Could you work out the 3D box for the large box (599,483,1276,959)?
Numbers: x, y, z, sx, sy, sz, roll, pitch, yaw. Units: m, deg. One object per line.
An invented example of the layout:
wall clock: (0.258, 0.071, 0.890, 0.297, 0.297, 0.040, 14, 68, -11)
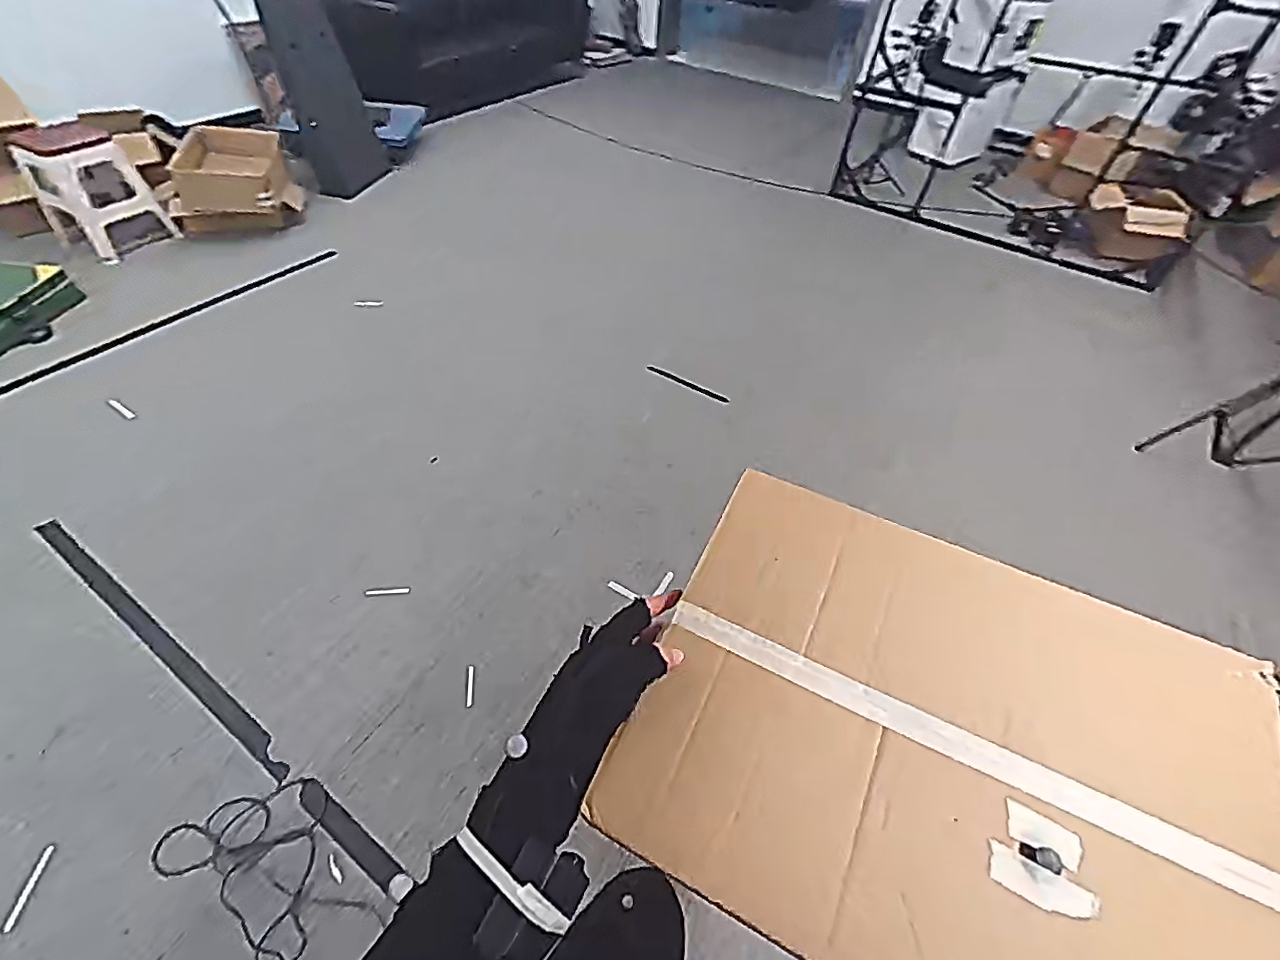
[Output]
large box: (0.217, 0.265, 0.515, 0.408, 0.320, 0.320, 22, 61, 17)
